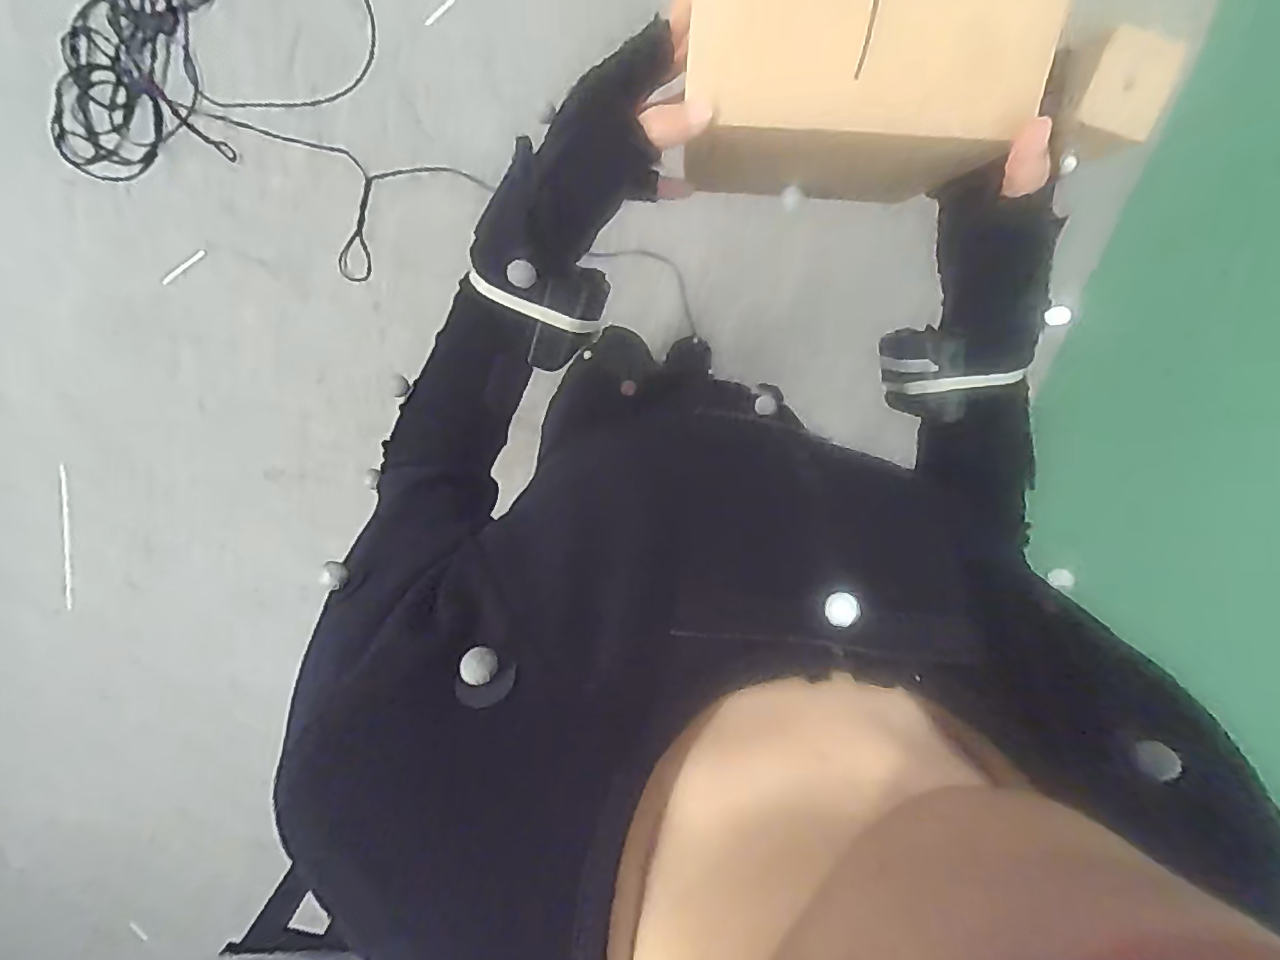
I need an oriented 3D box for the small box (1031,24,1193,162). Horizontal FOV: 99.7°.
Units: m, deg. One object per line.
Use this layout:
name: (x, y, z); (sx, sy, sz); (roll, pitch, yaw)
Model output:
small box: (0.996, -0.817, 1.165); (0.168, 0.176, 0.179); (15, 106, -4)
